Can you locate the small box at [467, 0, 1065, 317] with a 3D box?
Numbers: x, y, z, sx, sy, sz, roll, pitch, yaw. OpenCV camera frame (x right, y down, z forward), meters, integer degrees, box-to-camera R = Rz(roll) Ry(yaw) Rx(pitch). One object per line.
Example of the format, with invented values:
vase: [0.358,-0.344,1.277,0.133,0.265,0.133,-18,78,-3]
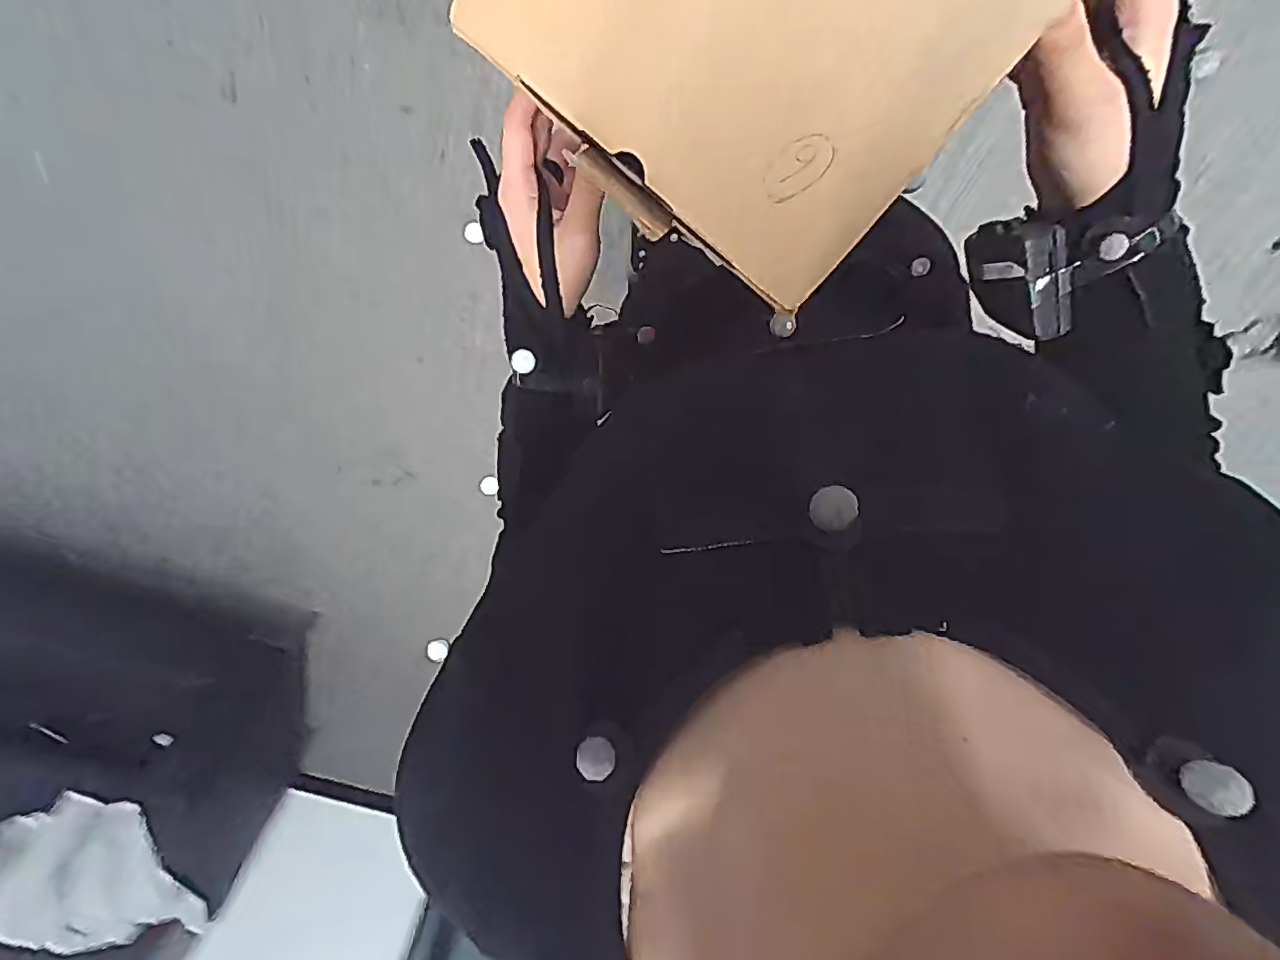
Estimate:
small box: [0.062,-0.207,0.248,0.168,0.176,0.179,39,118,-7]
